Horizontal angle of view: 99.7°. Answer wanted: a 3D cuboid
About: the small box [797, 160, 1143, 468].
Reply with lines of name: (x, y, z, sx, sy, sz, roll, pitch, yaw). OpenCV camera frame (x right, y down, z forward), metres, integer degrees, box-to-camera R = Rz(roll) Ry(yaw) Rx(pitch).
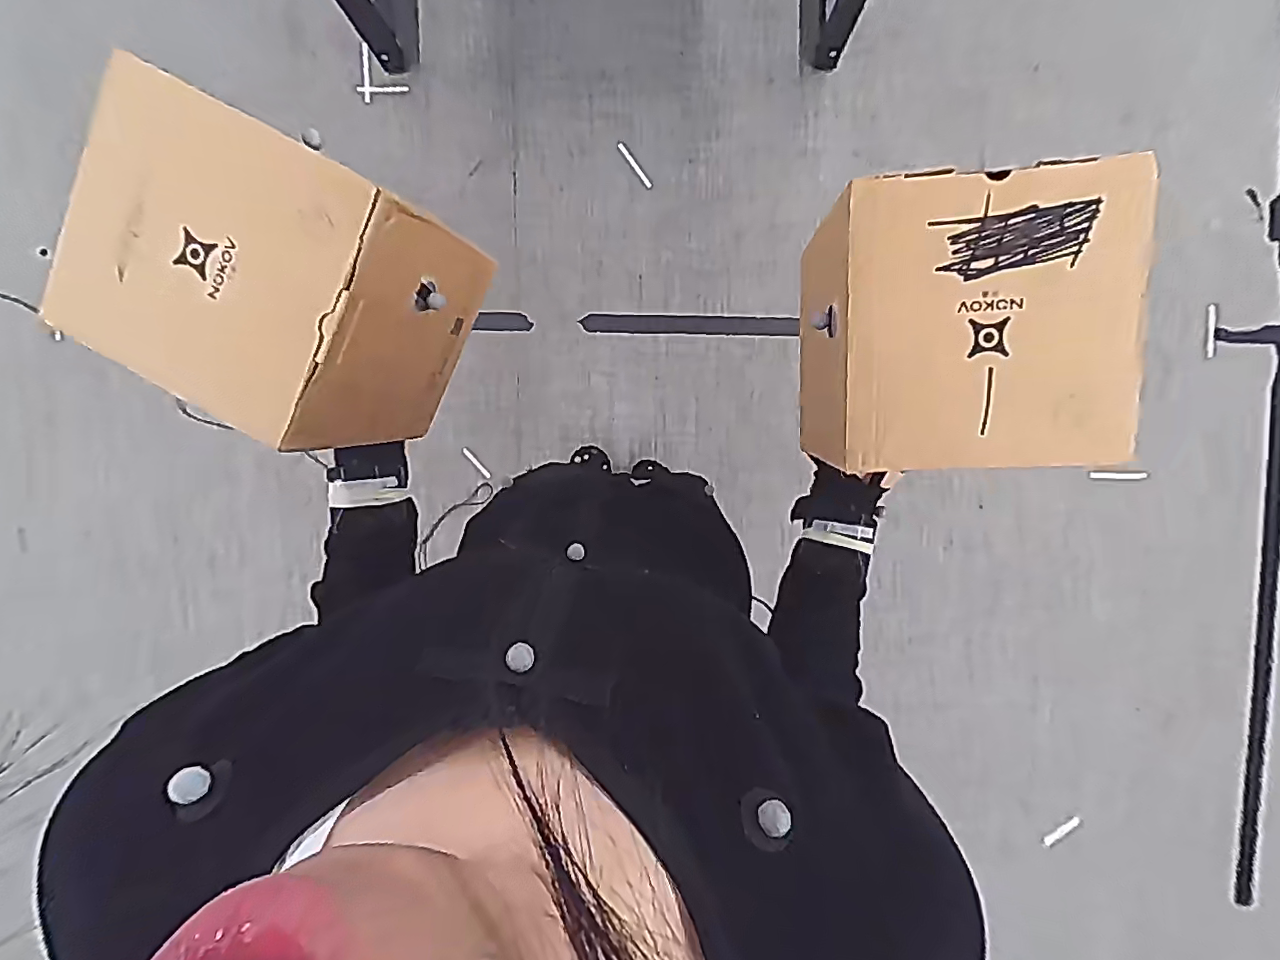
small box: (0.214, -0.105, 0.404, 0.168, 0.176, 0.179, -1, 99, 7)

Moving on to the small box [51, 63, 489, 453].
small box: (-0.238, -0.137, 0.392, 0.179, 0.176, 0.168, 28, 99, 3)
